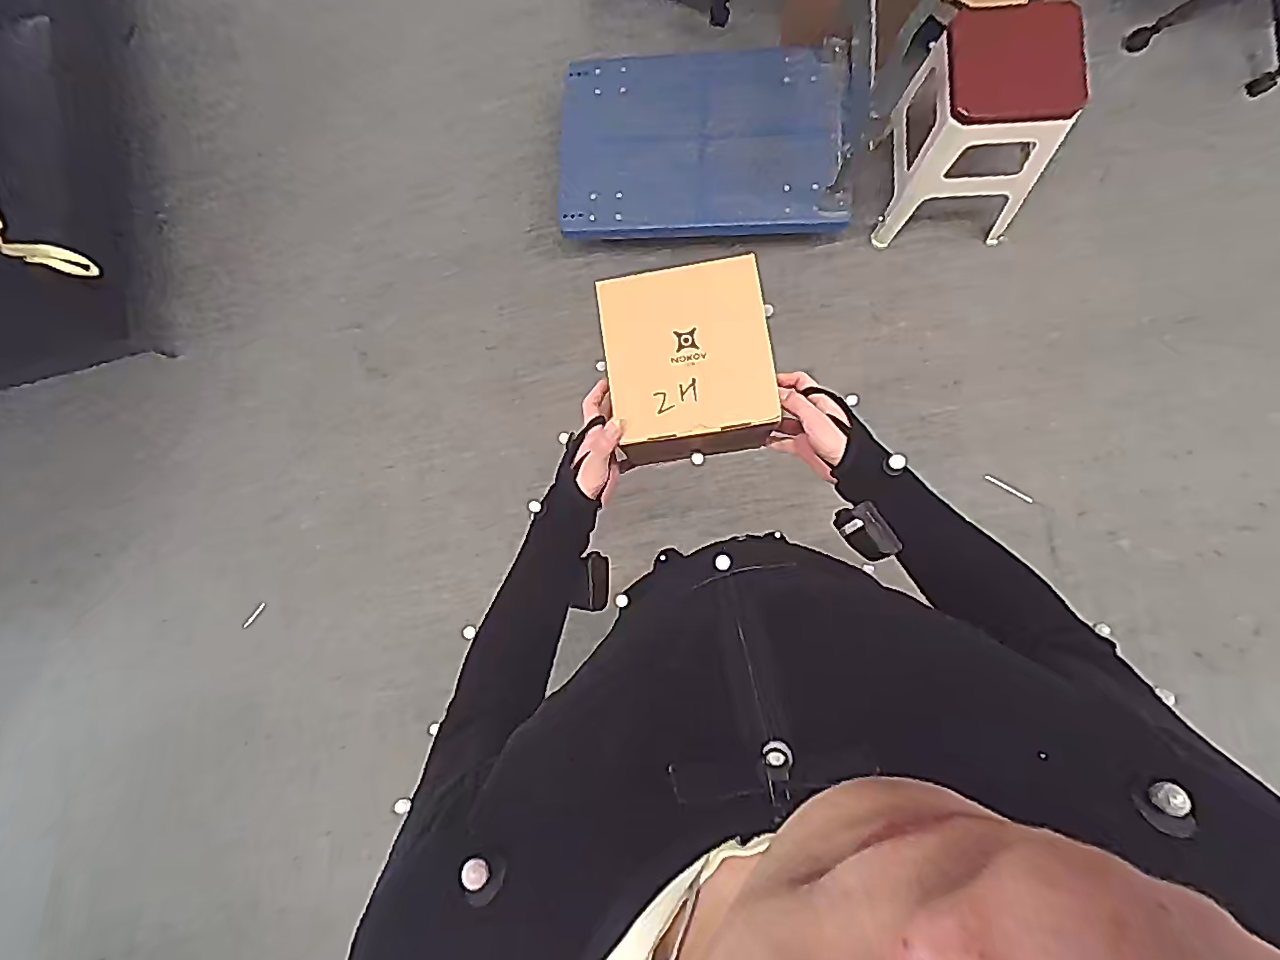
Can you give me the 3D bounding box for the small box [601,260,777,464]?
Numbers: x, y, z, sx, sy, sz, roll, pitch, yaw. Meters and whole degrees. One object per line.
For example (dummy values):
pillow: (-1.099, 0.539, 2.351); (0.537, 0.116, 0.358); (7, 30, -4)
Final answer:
small box: (0.053, -0.123, 0.630); (0.168, 0.176, 0.179); (-7, 84, 5)
